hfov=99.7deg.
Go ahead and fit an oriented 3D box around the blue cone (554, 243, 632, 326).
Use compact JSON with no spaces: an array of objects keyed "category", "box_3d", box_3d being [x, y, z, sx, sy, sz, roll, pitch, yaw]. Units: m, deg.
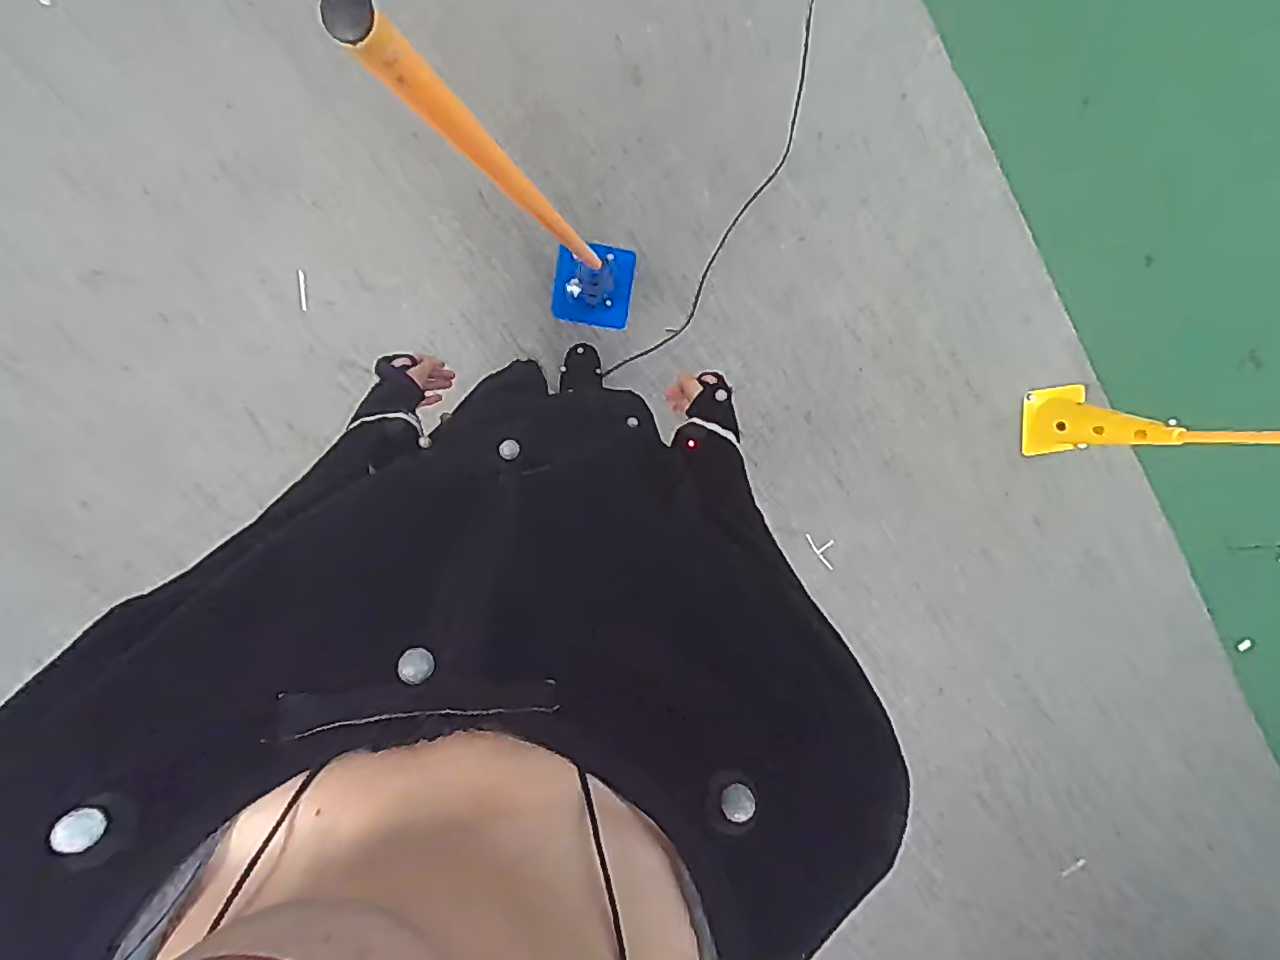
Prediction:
[{"category":"blue cone","box_3d":[-0.106,-0.458,1.217,0.193,0.380,0.192,8,102,-7]}]
